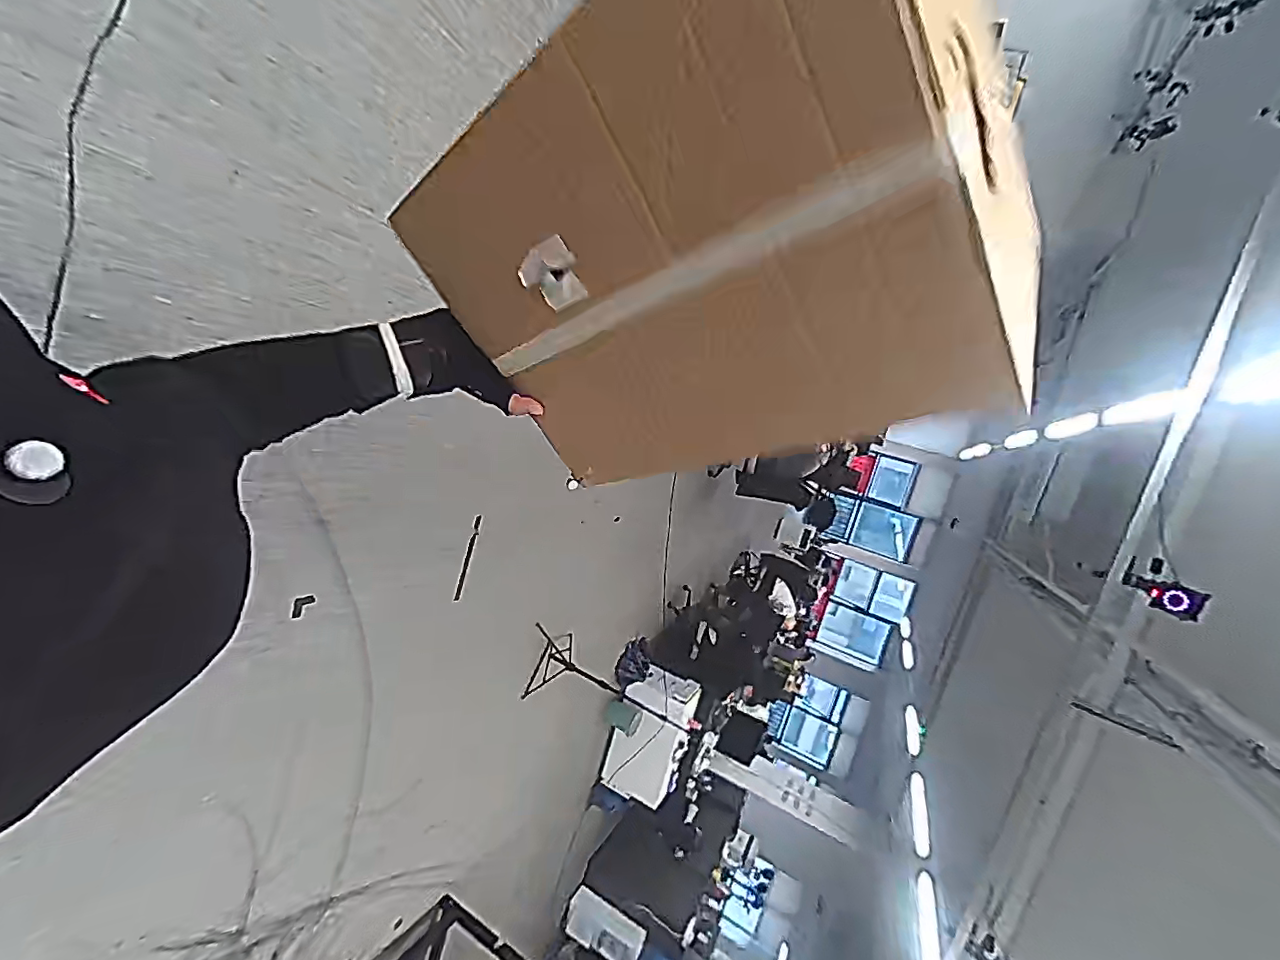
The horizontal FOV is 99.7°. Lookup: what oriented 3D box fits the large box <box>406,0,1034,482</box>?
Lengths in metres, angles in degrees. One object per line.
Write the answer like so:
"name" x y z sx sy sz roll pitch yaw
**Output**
"large box" 0.078 -0.222 0.493 0.320 0.408 0.320 -50 121 -35
